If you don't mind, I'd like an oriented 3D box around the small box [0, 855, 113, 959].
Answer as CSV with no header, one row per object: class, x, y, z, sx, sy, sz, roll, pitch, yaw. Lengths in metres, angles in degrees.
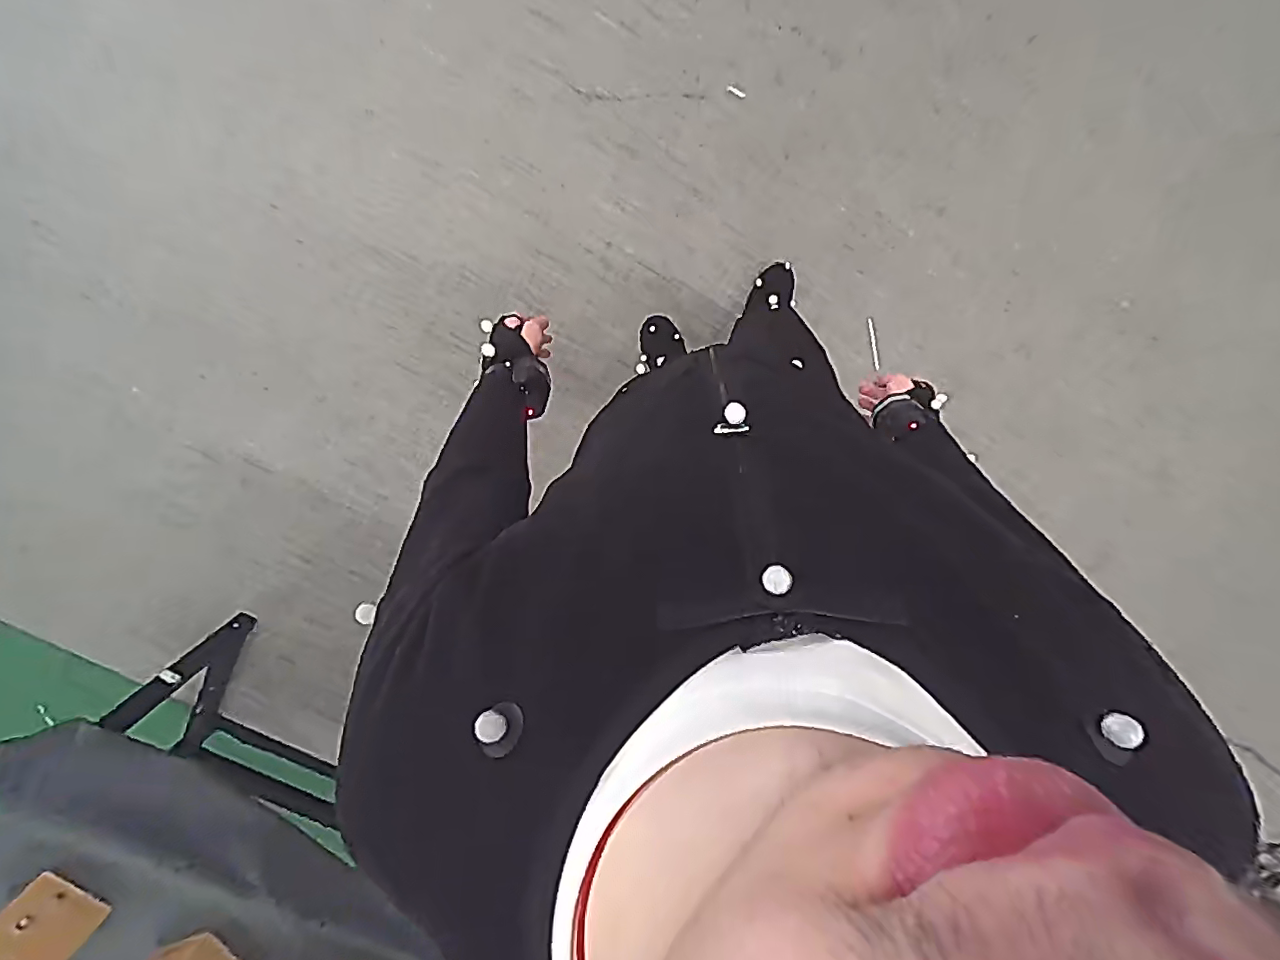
small box,-1.286,0.946,1.141,0.179,0.176,0.168,-41,101,15
